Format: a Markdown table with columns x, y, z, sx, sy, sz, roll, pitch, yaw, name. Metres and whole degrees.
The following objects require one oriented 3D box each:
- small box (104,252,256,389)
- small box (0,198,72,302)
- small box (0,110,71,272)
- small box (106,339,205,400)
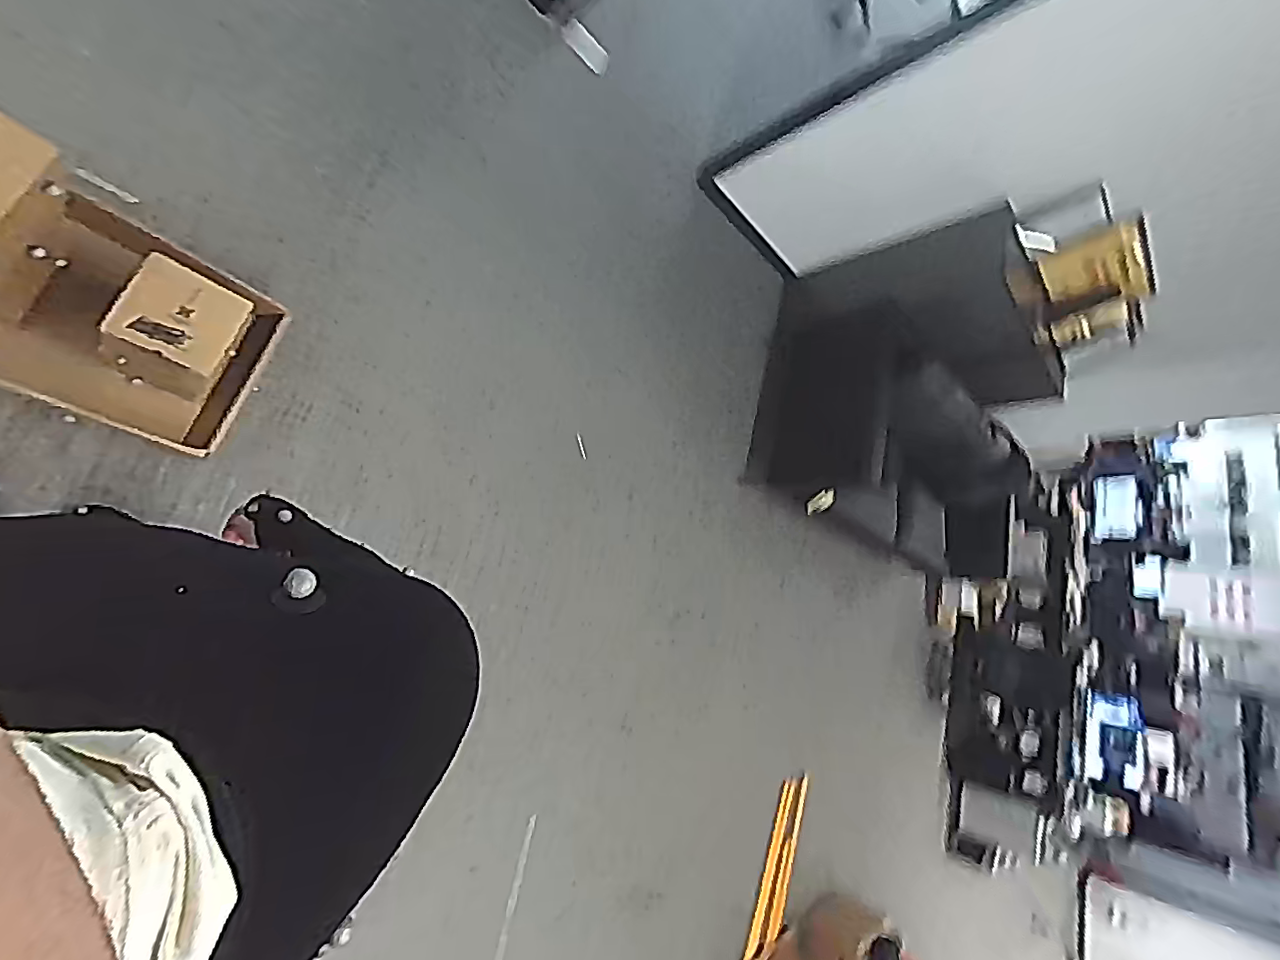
| x | y | z | sx | sy | sz | roll | pitch | yaw | name |
| --- | --- | --- | --- | --- | --- | --- | --- | --- | --- |
| -0.893 | -0.299 | 1.061 | 0.168 | 0.176 | 0.179 | 31 | 66 | -37 | small box |
| -1.090 | -0.426 | 0.886 | 0.168 | 0.176 | 0.179 | 33 | 66 | -39 | small box |
| -0.971 | -0.436 | 0.772 | 0.168 | 0.176 | 0.179 | 33 | 65 | -38 | small box |
| -1.010 | -0.295 | 1.176 | 0.168 | 0.176 | 0.179 | 31 | 68 | -36 | small box |
